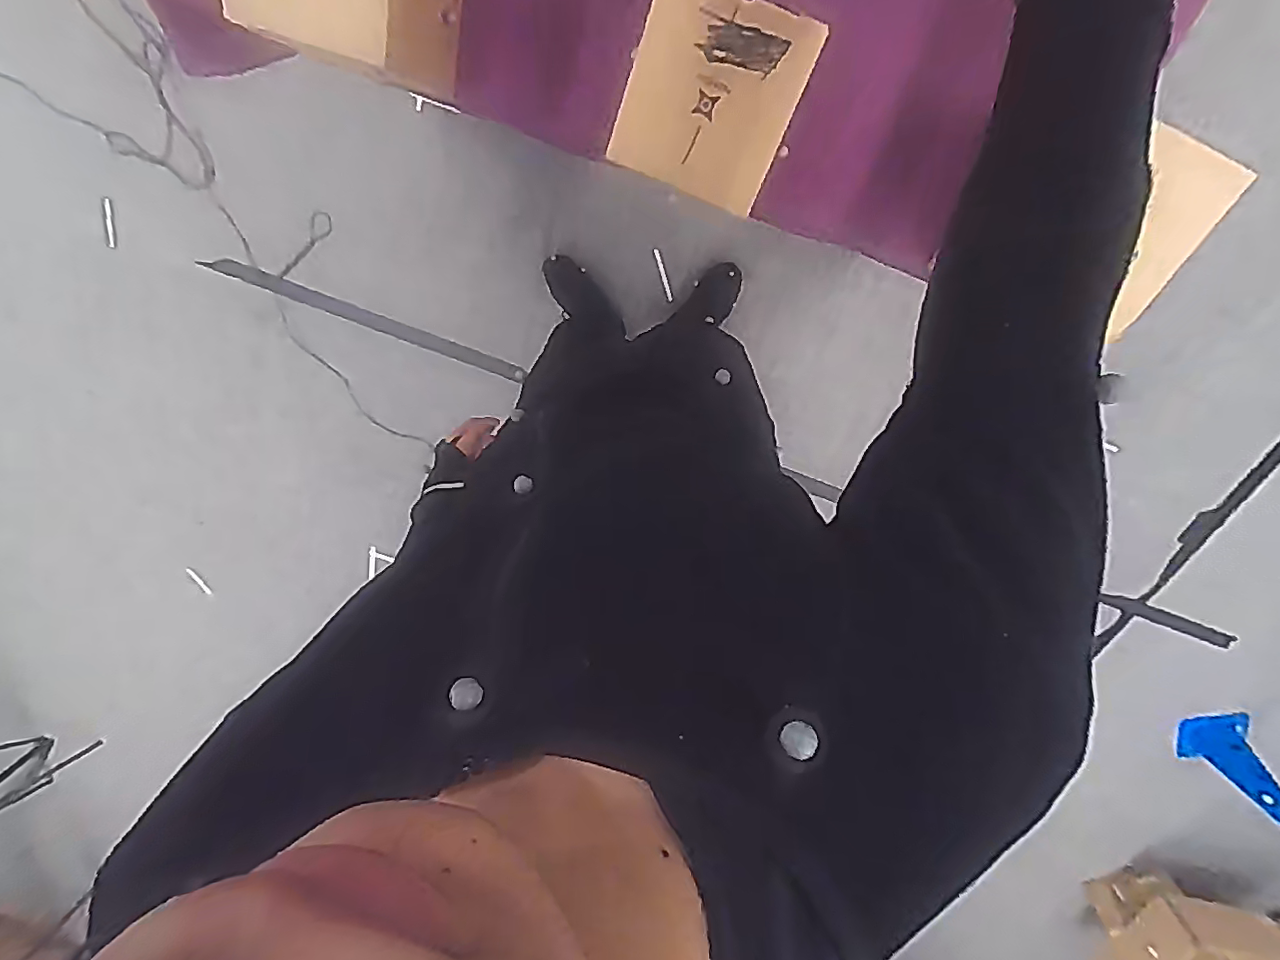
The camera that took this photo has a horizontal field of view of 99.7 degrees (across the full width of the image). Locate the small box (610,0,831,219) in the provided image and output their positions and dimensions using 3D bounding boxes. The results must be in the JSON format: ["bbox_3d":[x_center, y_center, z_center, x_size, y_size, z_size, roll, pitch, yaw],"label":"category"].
[{"bbox_3d":[0.083,-0.414,0.605,0.168,0.176,0.179,23,117,-3],"label":"small box"}]

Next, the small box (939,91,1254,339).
[{"bbox_3d":[0.478,-0.286,0.607,0.168,0.176,0.179,25,116,-3],"label":"small box"}]
